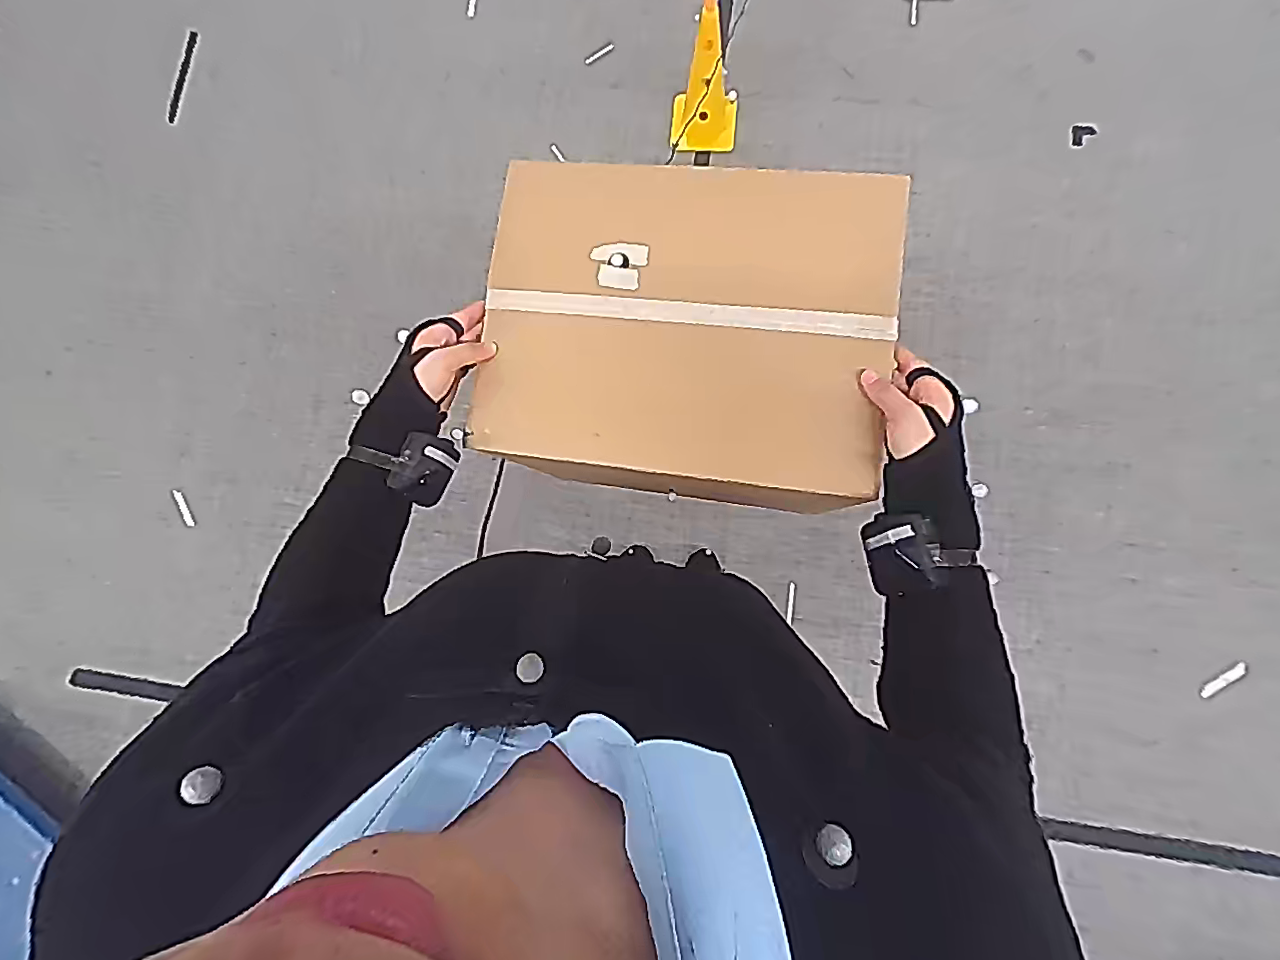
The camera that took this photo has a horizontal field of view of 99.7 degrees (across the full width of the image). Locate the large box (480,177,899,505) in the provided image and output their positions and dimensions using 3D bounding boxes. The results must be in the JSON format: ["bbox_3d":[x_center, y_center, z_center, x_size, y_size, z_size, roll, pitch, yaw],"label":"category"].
[{"bbox_3d":[0.067,-0.145,0.691,0.408,0.320,0.320,7,84,10],"label":"large box"}]
